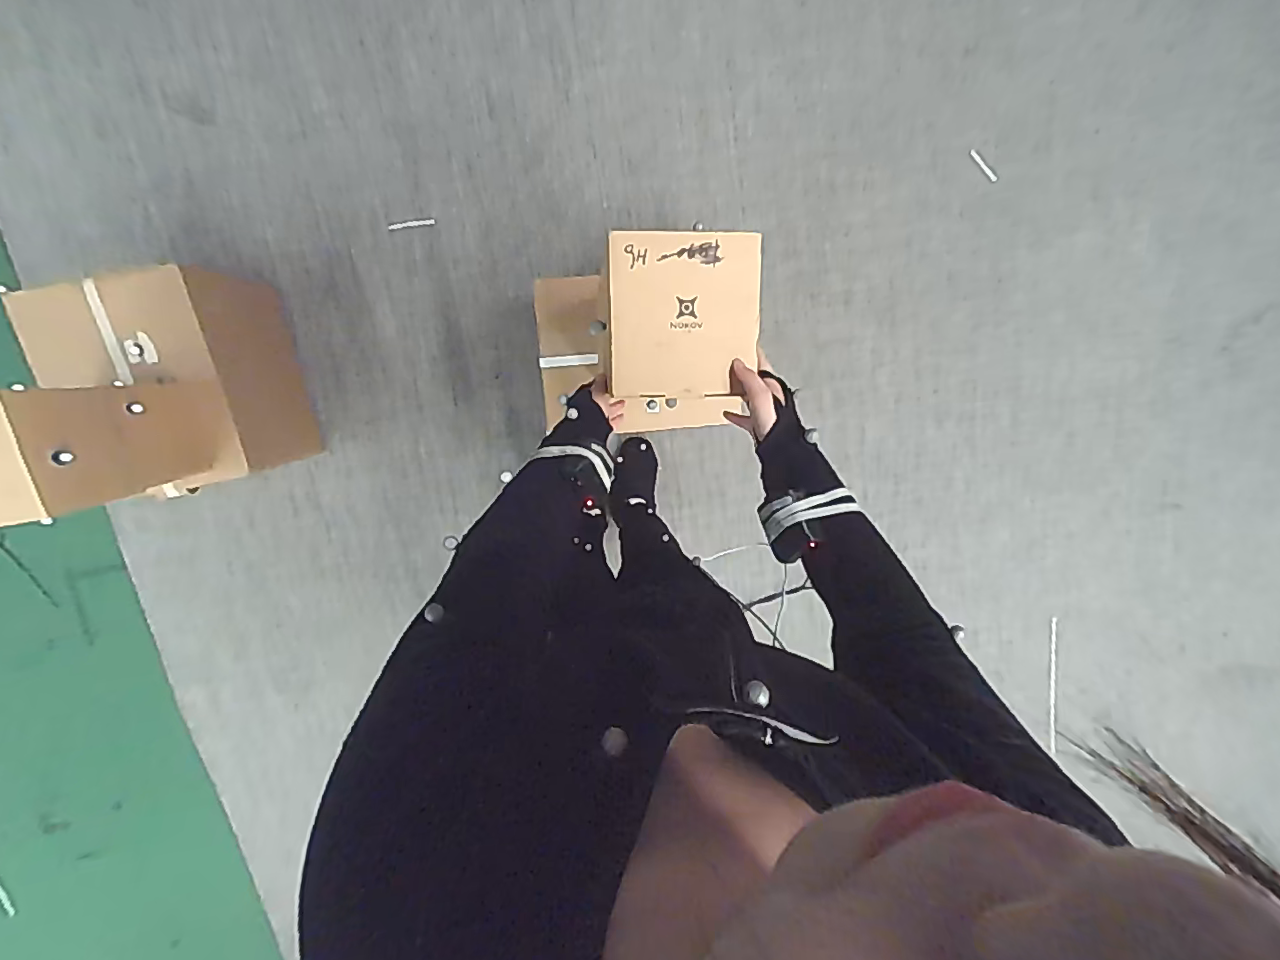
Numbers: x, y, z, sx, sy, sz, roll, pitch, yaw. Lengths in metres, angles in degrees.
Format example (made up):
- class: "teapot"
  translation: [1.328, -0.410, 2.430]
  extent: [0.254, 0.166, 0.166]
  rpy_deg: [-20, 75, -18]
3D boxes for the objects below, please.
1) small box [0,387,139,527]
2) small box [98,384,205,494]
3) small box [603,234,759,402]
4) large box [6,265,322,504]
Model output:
- class: "small box"
  translation: [-0.886, -0.035, 0.777]
  extent: [0.168, 0.176, 0.179]
  rpy_deg: [-9, 102, -4]
- class: "small box"
  translation: [-0.910, -0.068, 0.937]
  extent: [0.168, 0.176, 0.179]
  rpy_deg: [-9, 101, -4]
- class: "small box"
  translation: [0.039, -0.190, 0.668]
  extent: [0.168, 0.176, 0.179]
  rpy_deg: [-1, 102, -5]
- class: "large box"
  translation: [-0.959, -0.198, 1.155]
  extent: [0.320, 0.320, 0.408]
  rpy_deg: [-11, 101, -3]
